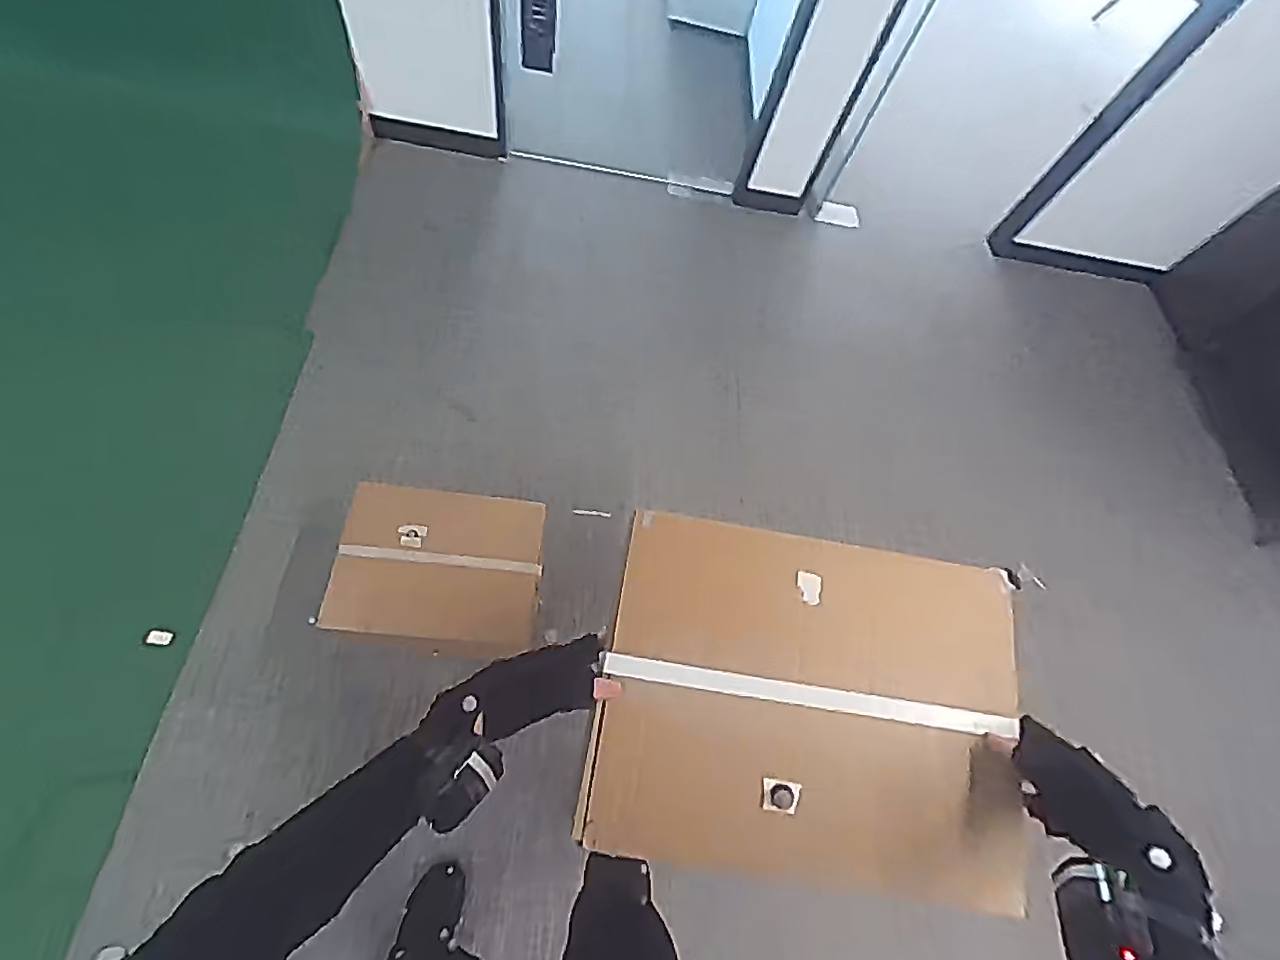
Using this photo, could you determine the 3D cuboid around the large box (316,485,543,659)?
[{"bbox_3d":[-0.442,0.231,1.256,0.408,0.320,0.320,7,63,-7],"label":"large box"}]
